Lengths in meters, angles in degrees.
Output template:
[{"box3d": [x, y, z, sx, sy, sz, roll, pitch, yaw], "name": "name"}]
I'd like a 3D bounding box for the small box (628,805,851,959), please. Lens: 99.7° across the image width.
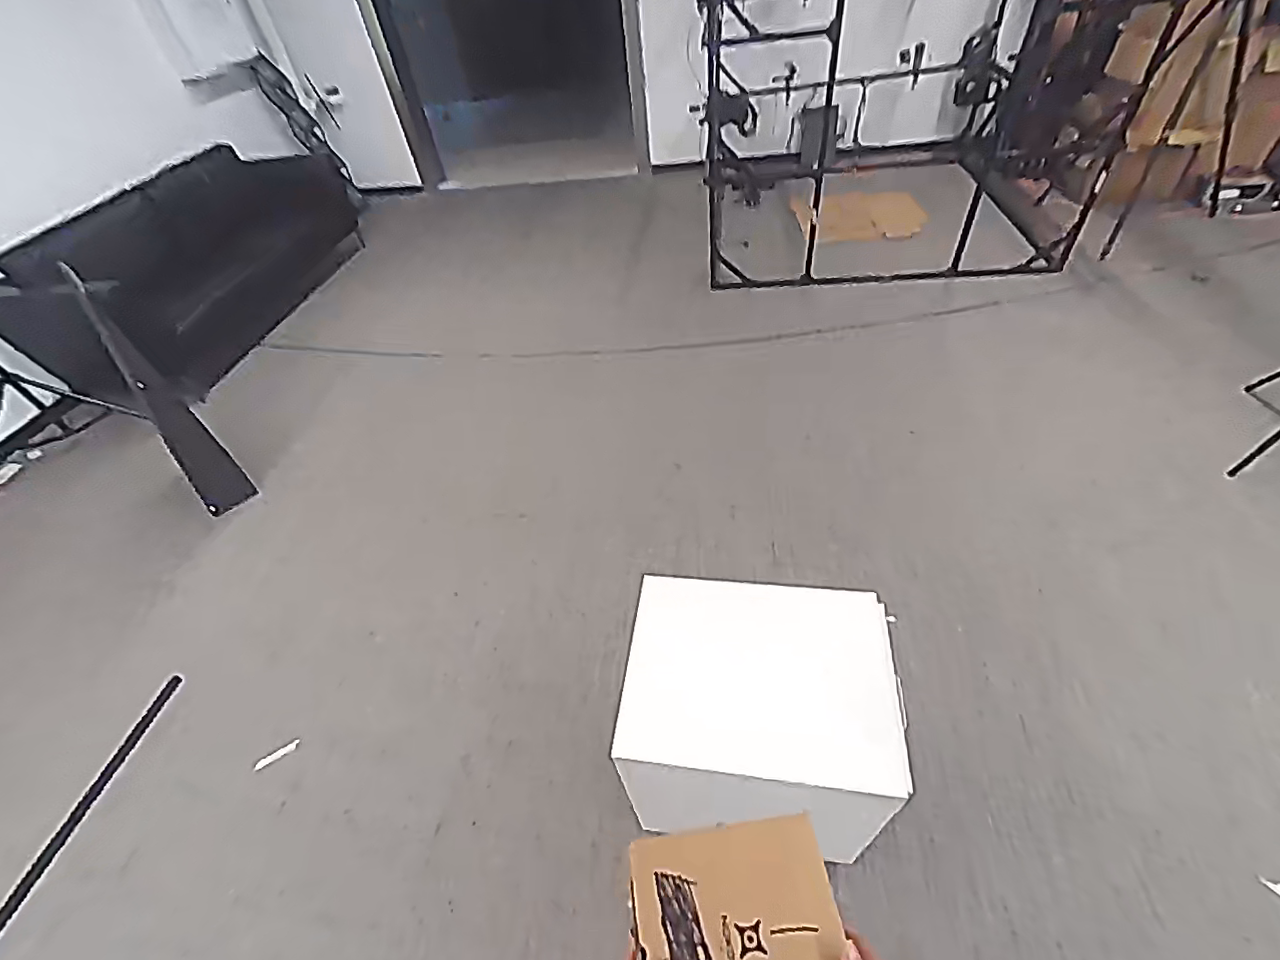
[{"box3d": [0.088, 0.435, 0.518, 0.179, 0.176, 0.168, -7, 46, -2], "name": "small box"}]
